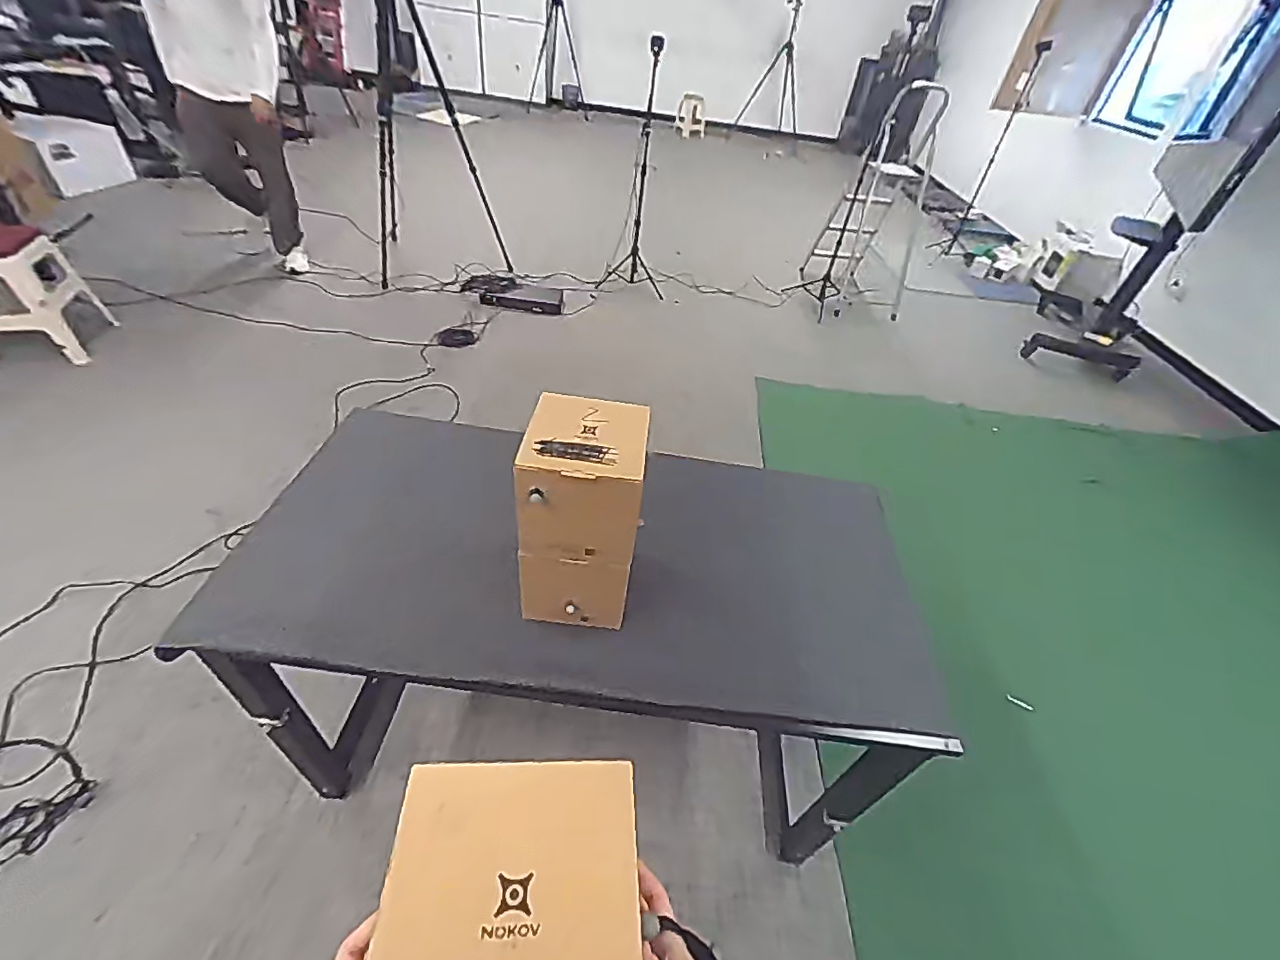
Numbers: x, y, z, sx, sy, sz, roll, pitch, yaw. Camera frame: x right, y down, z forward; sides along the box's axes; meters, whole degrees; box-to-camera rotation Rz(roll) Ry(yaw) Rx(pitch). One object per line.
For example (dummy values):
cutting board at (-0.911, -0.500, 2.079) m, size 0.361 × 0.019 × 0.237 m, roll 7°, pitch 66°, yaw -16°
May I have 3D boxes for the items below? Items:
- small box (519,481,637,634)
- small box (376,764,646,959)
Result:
small box at (-0.102, 0.129, 0.905) m, size 0.168 × 0.176 × 0.179 m, roll 7°, pitch 41°, yaw -2°
small box at (-0.091, 0.336, 0.400) m, size 0.168 × 0.176 × 0.179 m, roll 4°, pitch 40°, yaw -9°
